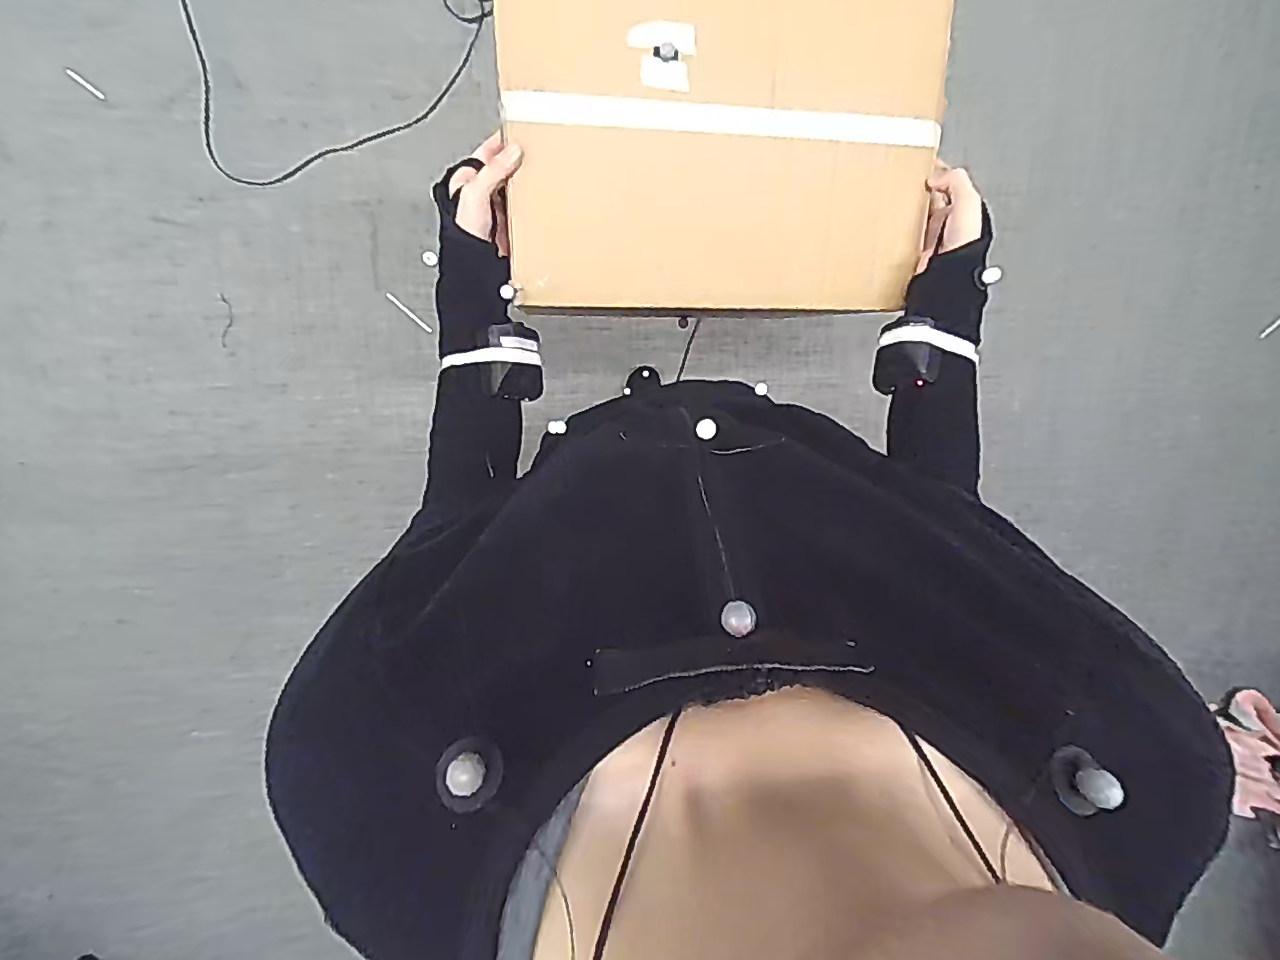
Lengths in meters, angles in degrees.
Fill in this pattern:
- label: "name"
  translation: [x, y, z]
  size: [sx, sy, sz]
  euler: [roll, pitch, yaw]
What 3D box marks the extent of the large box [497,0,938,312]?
- label: "large box"
  translation: [0.056, -0.362, 0.641]
  size: [0.408, 0.320, 0.320]
  euler: [-2, 105, -9]
